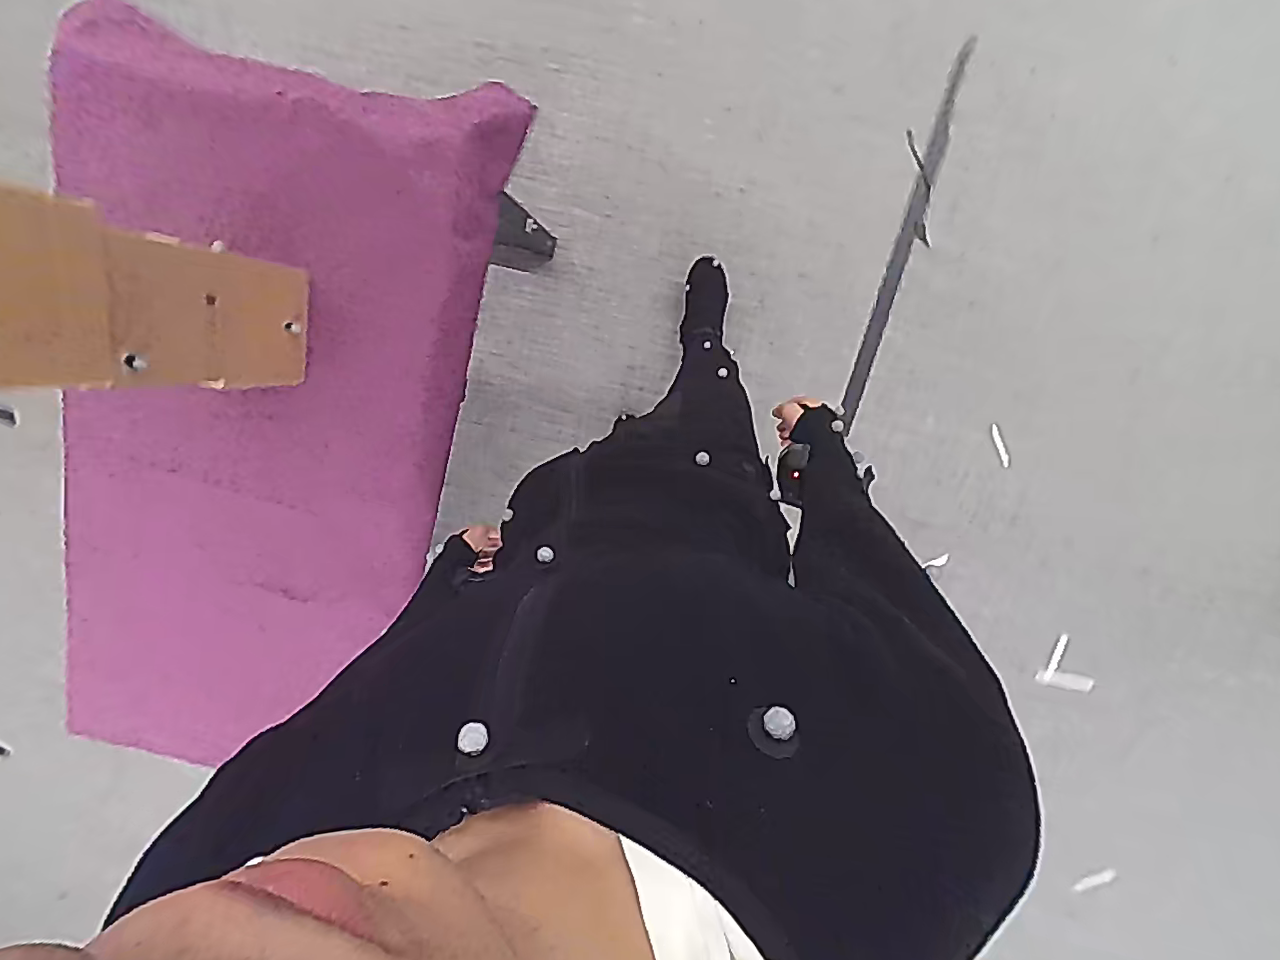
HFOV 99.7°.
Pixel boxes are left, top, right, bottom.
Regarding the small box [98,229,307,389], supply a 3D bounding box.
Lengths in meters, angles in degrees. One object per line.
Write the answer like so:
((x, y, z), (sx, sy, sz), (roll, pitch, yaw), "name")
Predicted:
((-0.608, -0.234, 0.771), (0.168, 0.176, 0.179), (11, 103, 2), "small box")

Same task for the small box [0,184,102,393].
((-0.609, -0.166, 0.450), (0.168, 0.176, 0.179), (8, 103, 2), "small box")
